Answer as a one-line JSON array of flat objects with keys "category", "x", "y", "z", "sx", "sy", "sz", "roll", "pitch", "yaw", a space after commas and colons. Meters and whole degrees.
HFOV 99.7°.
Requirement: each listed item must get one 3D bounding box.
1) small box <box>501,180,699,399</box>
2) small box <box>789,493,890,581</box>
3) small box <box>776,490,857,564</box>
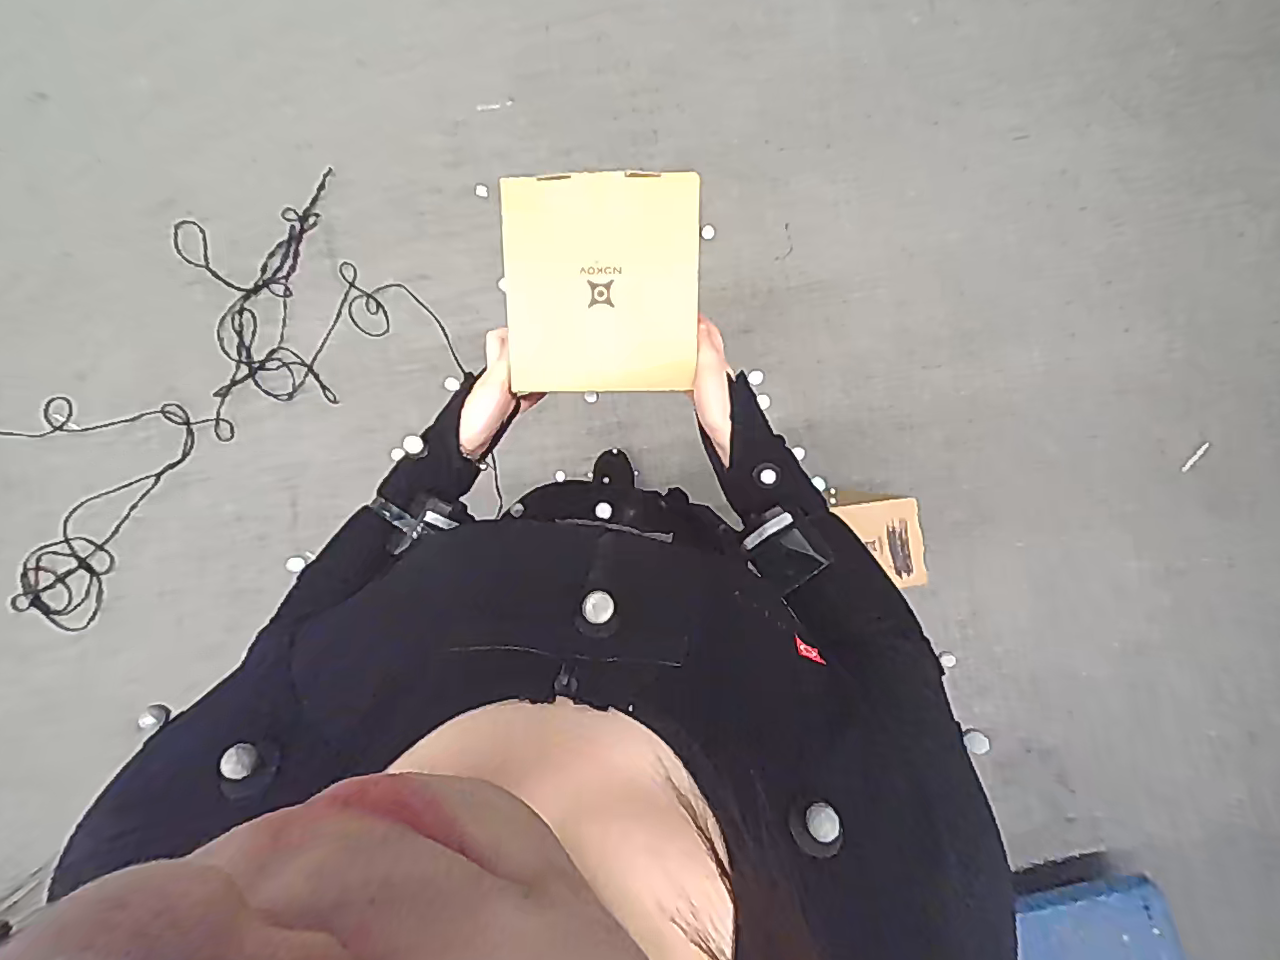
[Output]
[{"category": "small box", "x": -0.028, "y": -0.175, "z": 0.535, "sx": 0.168, "sy": 0.176, "sz": 0.179, "roll": 0, "pitch": 102, "yaw": 3}, {"category": "small box", "x": 0.450, "y": 0.123, "z": 1.246, "sx": 0.168, "sy": 0.176, "sz": 0.179, "roll": -8, "pitch": 90, "yaw": 3}, {"category": "small box", "x": 0.461, "y": 0.119, "z": 1.410, "sx": 0.179, "sy": 0.176, "sz": 0.168, "roll": -8, "pitch": 90, "yaw": 1}]
